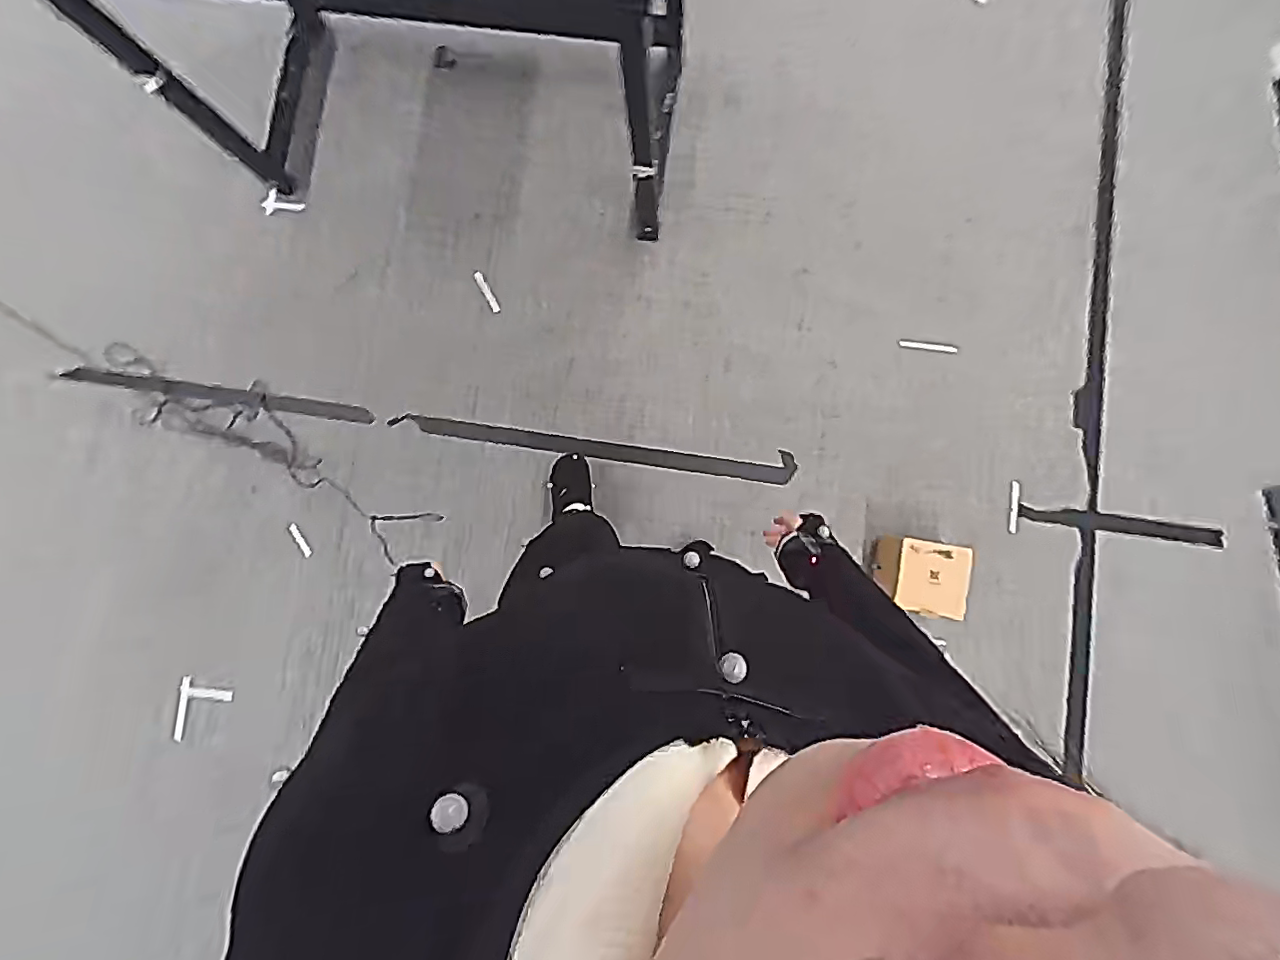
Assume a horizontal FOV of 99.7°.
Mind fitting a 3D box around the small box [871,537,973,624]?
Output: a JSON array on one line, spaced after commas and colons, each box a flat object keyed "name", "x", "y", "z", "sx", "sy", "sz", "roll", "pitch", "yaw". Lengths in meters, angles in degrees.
[{"name": "small box", "x": 0.708, "y": 0.249, "z": 1.379, "sx": 0.168, "sy": 0.176, "sz": 0.179, "roll": 11, "pitch": 88, "yaw": 4}]
